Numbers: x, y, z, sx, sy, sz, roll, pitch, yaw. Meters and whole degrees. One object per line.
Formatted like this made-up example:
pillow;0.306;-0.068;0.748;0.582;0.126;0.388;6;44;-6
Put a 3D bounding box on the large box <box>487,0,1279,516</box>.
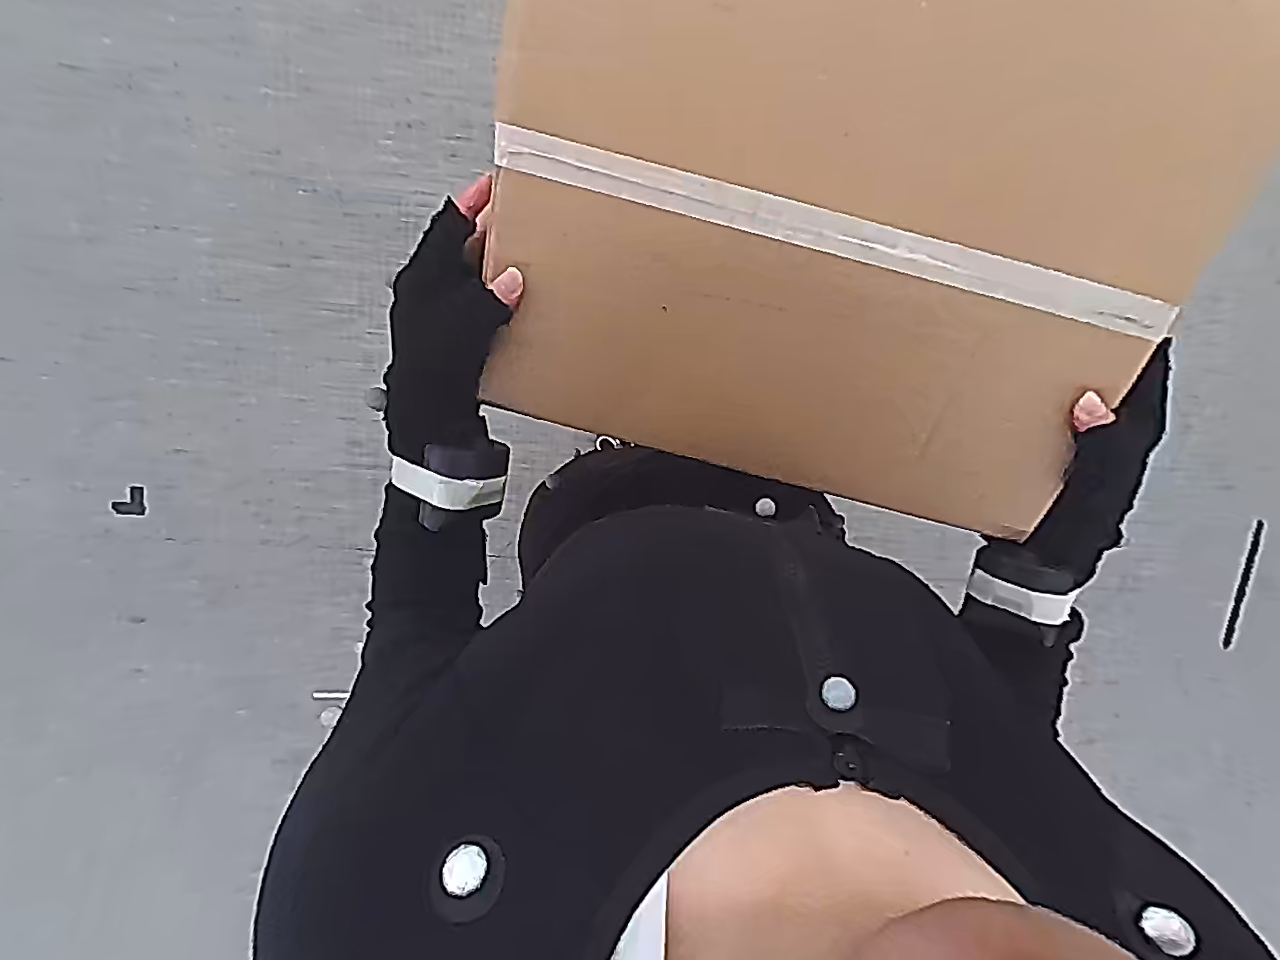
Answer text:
large box;0.124;-0.213;0.458;0.408;0.320;0.320;14;117;-2
